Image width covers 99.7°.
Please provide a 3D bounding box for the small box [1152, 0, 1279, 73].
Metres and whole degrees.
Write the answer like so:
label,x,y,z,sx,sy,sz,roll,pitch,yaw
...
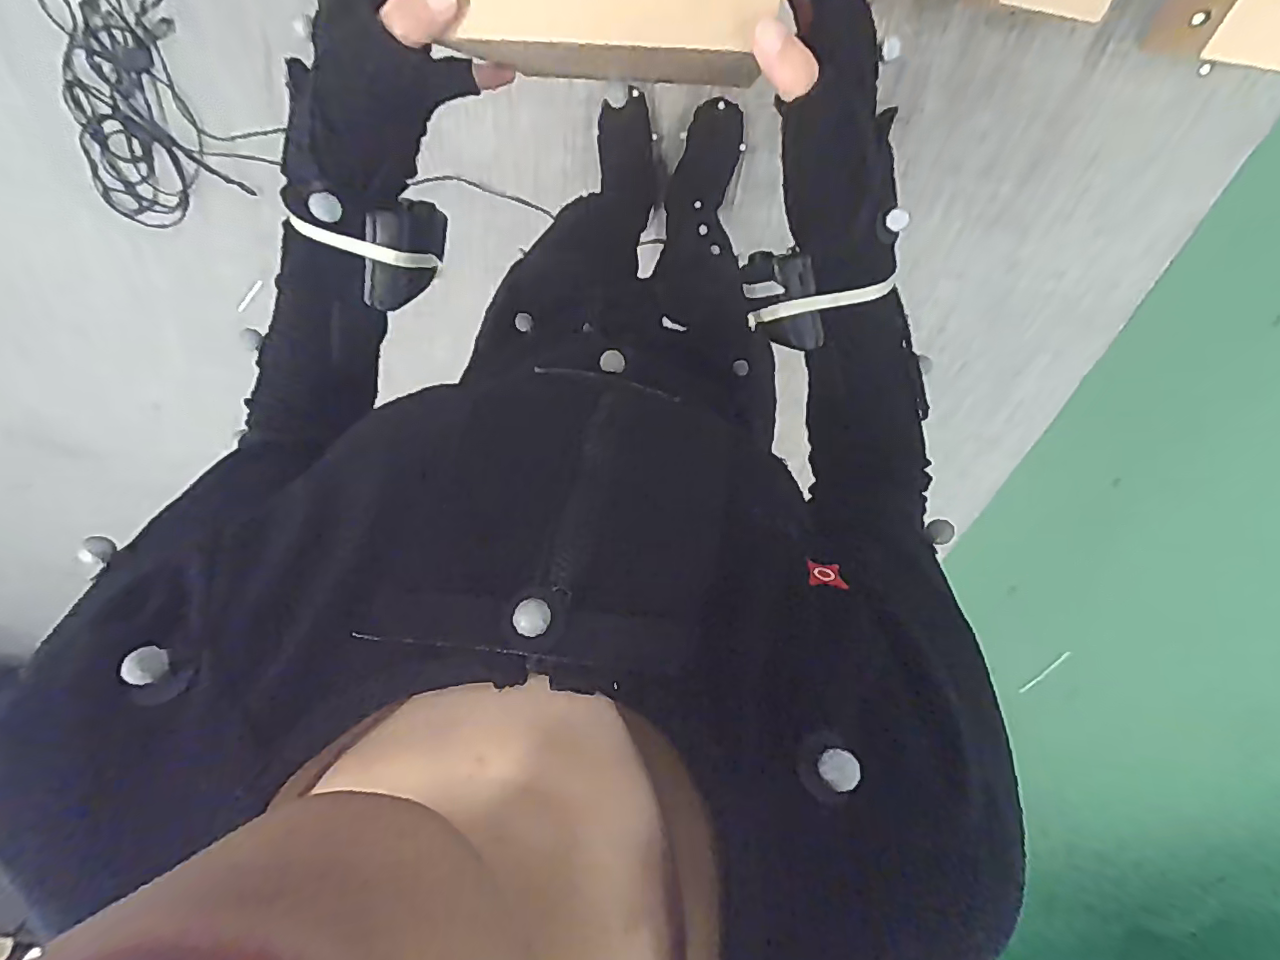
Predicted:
label,x,y,z,sx,sy,sz,roll,pitch,yaw
small box,0.969,-0.763,0.844,0.168,0.176,0.179,10,131,-1
